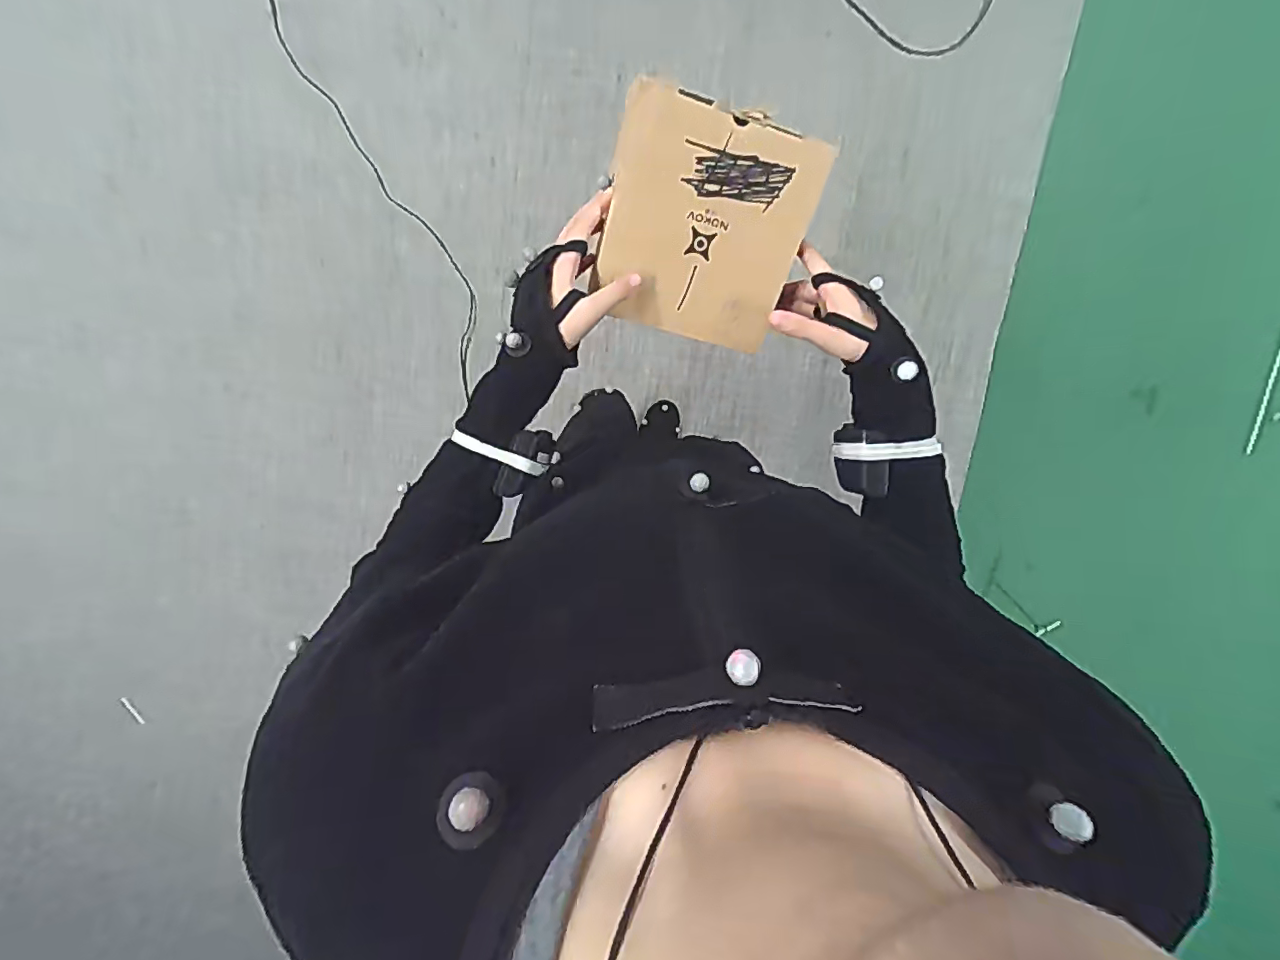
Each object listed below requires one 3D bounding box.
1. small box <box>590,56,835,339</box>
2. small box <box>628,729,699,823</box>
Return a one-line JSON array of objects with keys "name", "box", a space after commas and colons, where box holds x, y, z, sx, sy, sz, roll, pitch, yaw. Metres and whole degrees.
[{"name": "small box", "box": [0.048, -0.260, 0.517, 0.168, 0.176, 0.179, 12, 119, -12]}, {"name": "small box", "box": [0.062, 0.847, 1.560, 0.179, 0.176, 0.168, 7, 99, -3]}]
